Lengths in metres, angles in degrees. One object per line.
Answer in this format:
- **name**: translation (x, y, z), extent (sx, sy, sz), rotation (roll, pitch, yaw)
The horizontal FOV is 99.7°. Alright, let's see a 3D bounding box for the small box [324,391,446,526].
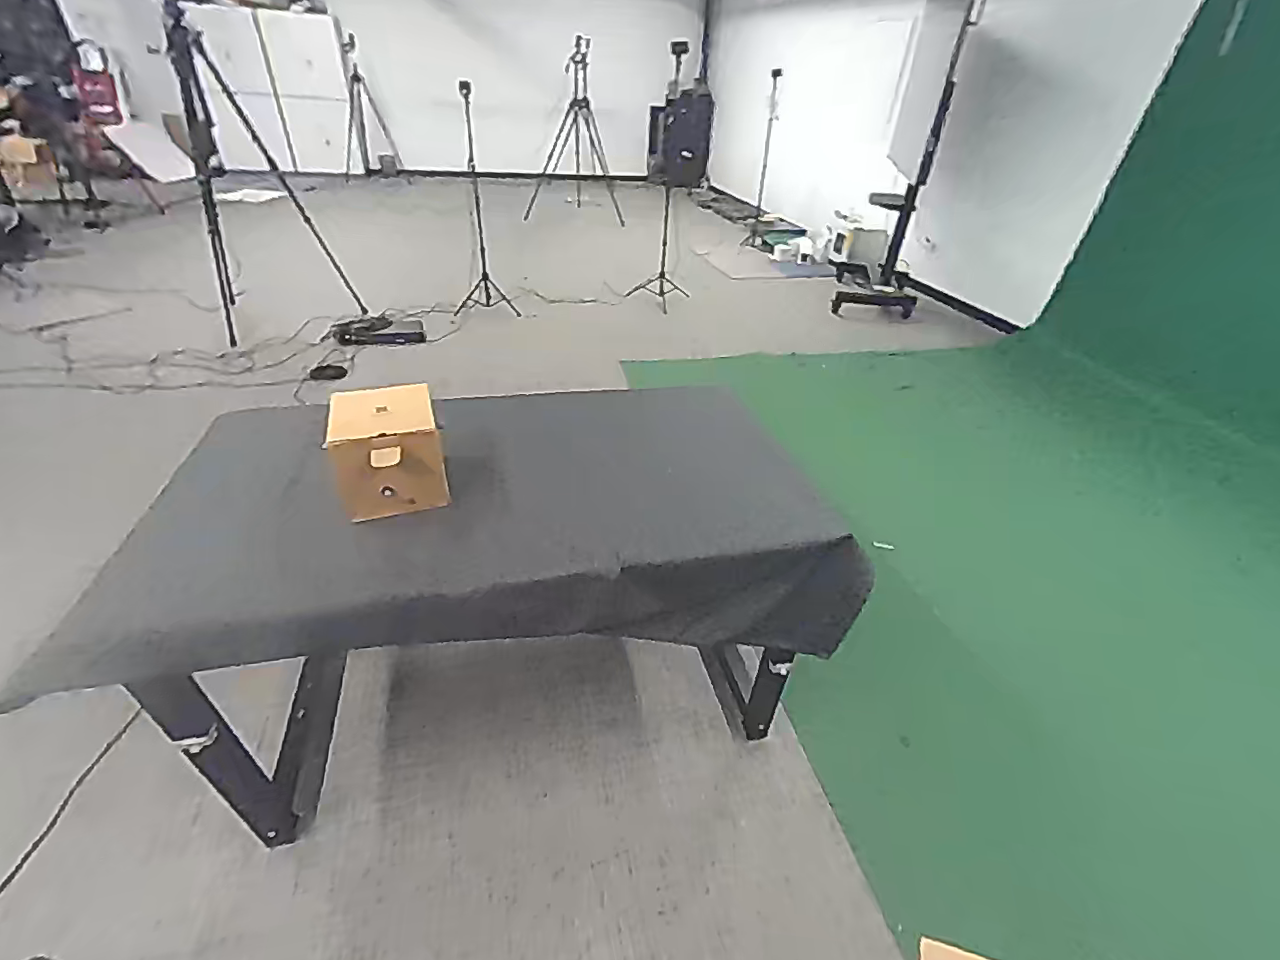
- **small box**: translation (-0.452, -0.043, 0.975), extent (0.168, 0.176, 0.179), rotation (-10, 39, -20)
